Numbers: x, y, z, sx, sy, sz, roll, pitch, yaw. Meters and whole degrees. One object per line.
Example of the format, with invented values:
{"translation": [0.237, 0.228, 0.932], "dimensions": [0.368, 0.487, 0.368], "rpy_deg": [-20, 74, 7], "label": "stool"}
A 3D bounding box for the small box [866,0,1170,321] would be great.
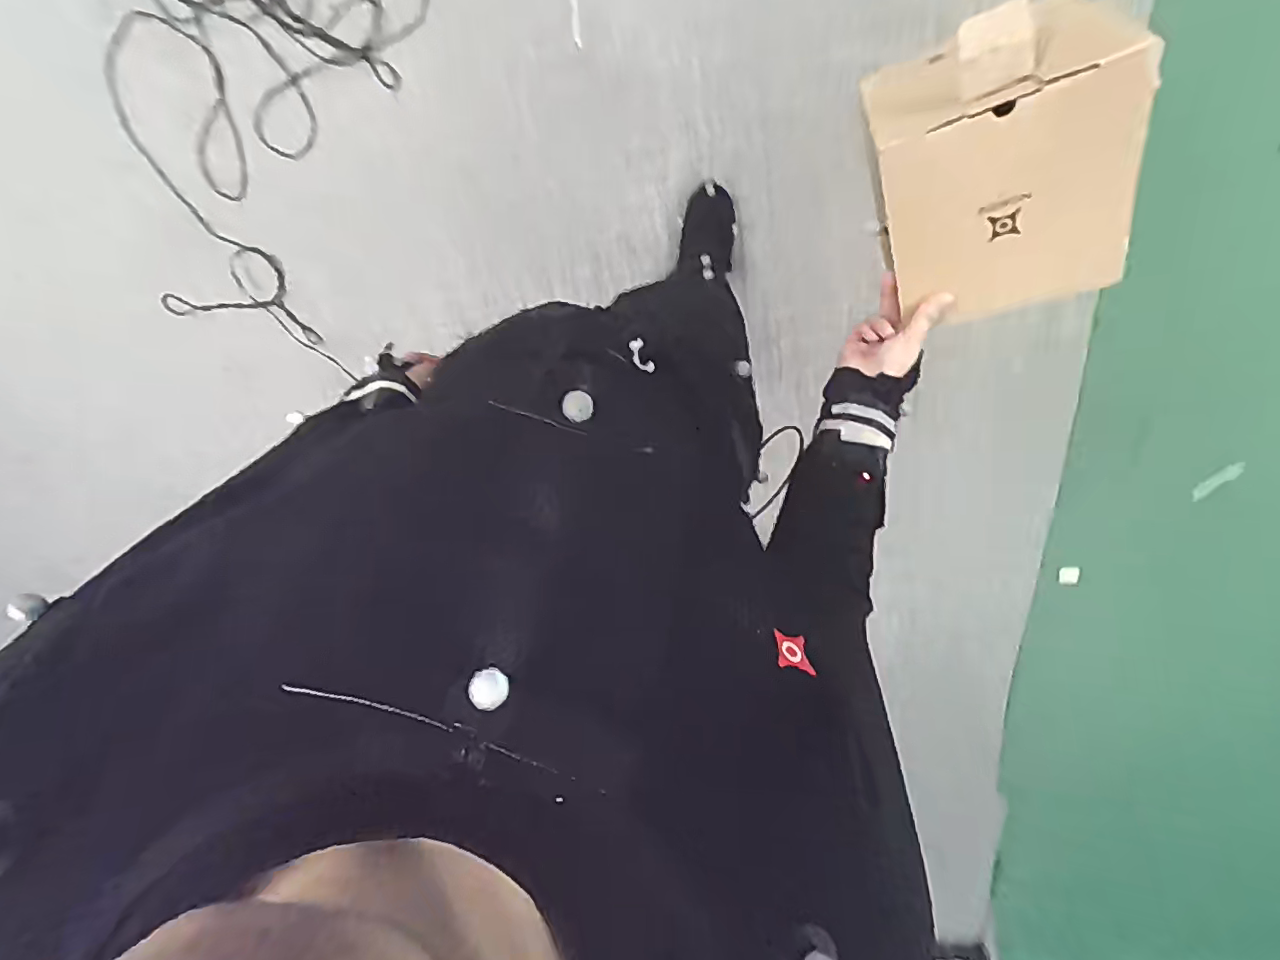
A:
{"translation": [0.304, -0.277, 0.472], "dimensions": [0.168, 0.176, 0.179], "rpy_deg": [-12, 135, 25], "label": "small box"}
